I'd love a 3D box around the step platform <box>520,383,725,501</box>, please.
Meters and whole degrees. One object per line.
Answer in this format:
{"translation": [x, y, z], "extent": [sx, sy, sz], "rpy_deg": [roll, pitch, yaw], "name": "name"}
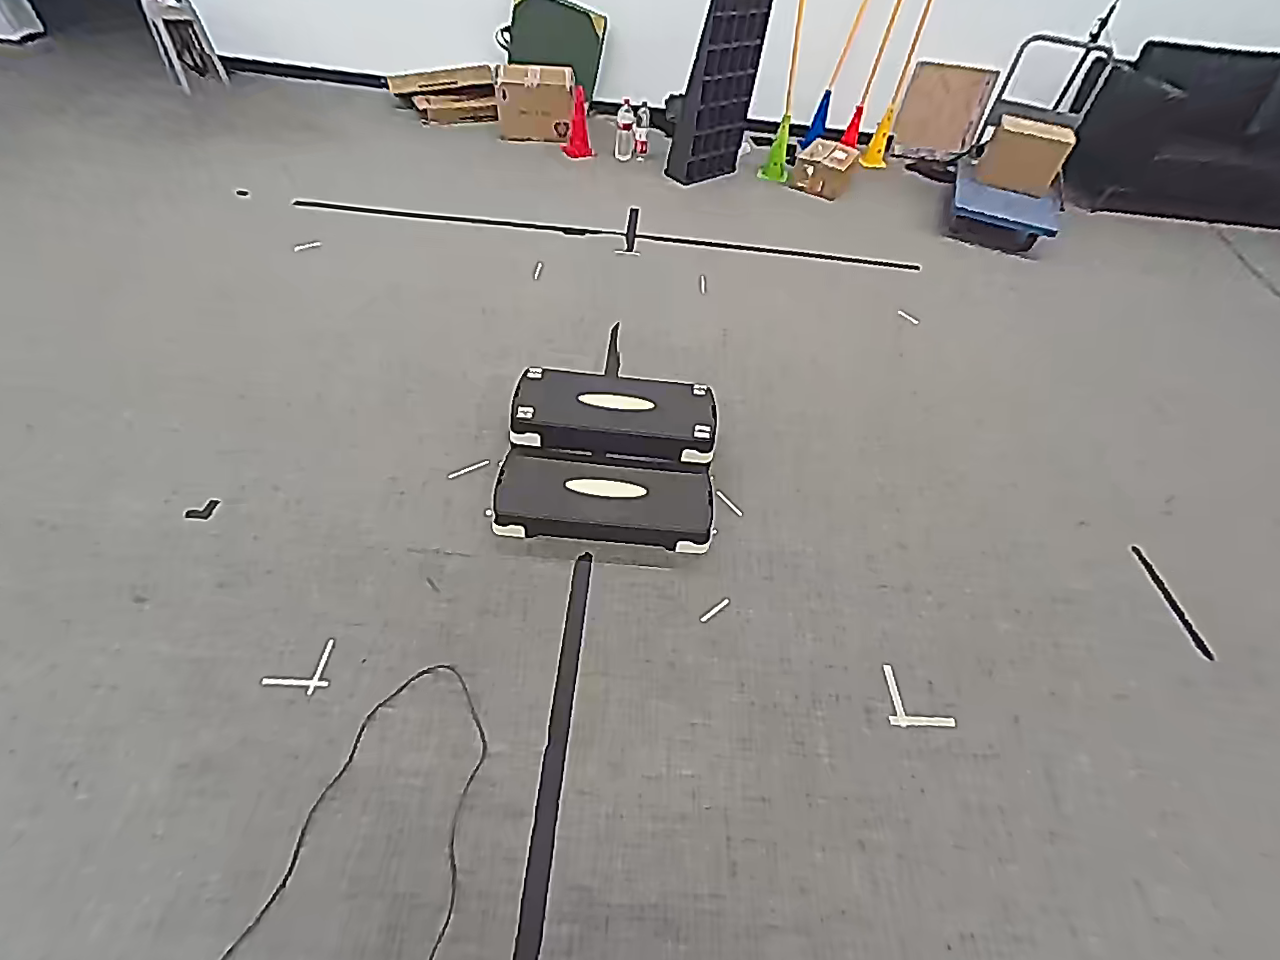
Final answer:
{"translation": [-0.055, -0.136, 1.849], "extent": [0.684, 0.204, 0.286], "rpy_deg": [9, 48, 1], "name": "step platform"}
